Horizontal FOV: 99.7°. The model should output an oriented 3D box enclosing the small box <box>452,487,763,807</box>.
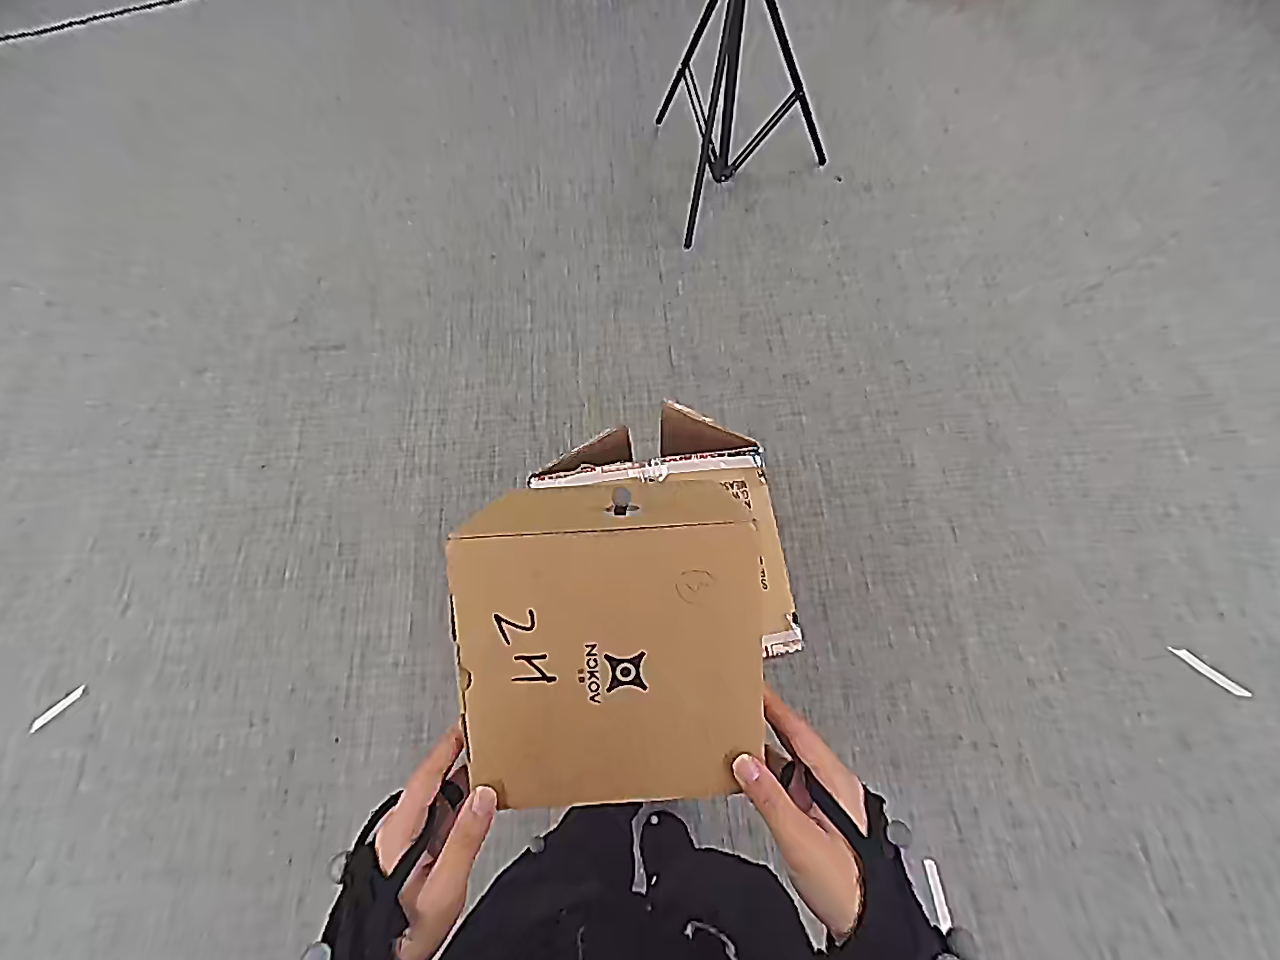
[{"bbox_3d":[-0.018,0.100,0.393,0.179,0.176,0.168,-3,97,-1],"label":"small box"}]
